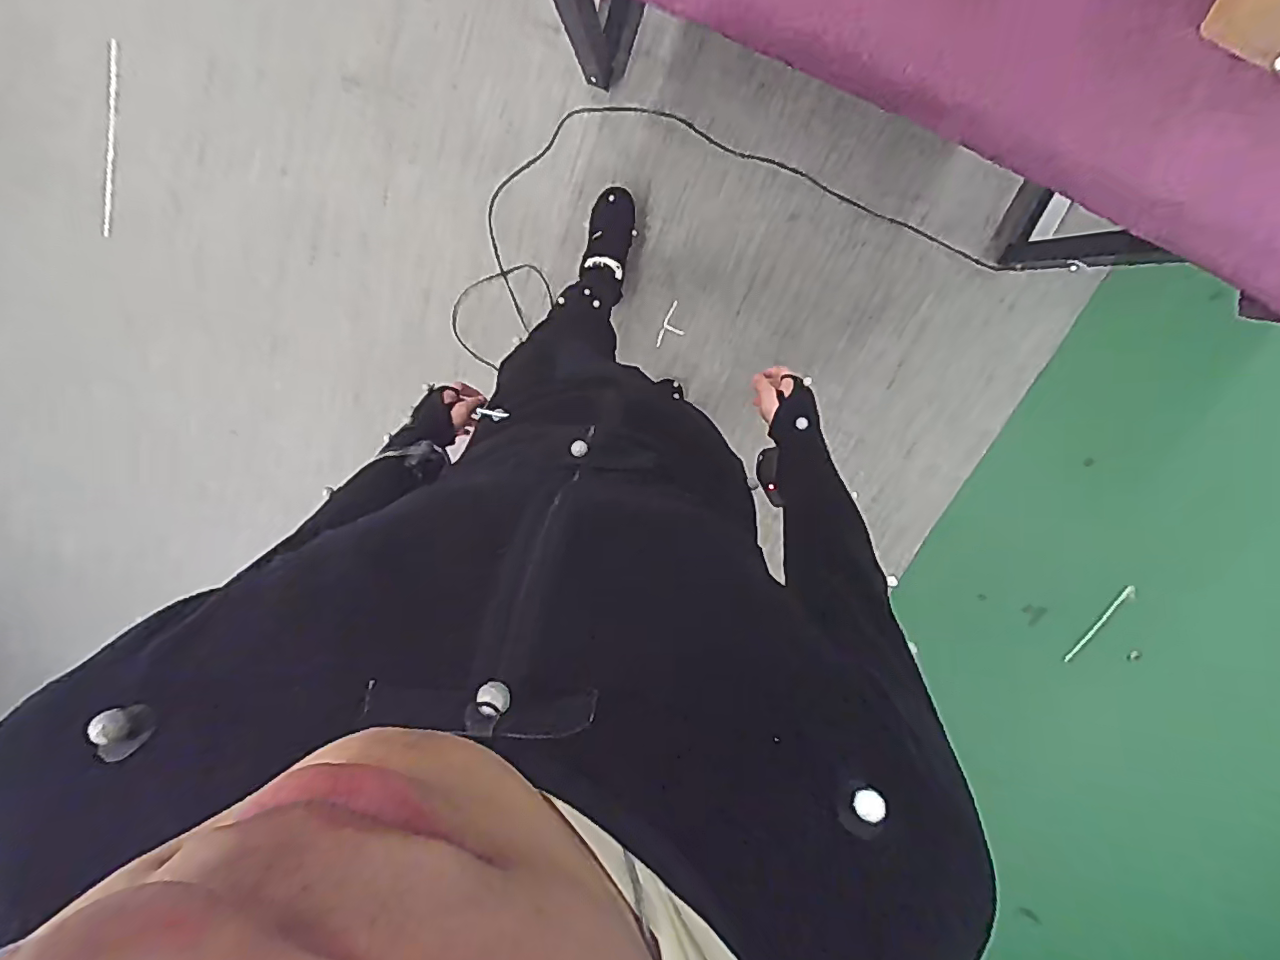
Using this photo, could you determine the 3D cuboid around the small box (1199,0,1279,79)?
[{"bbox_3d":[0.769,-0.548,0.555,0.179,0.176,0.168,21,109,-5],"label":"small box"}]
